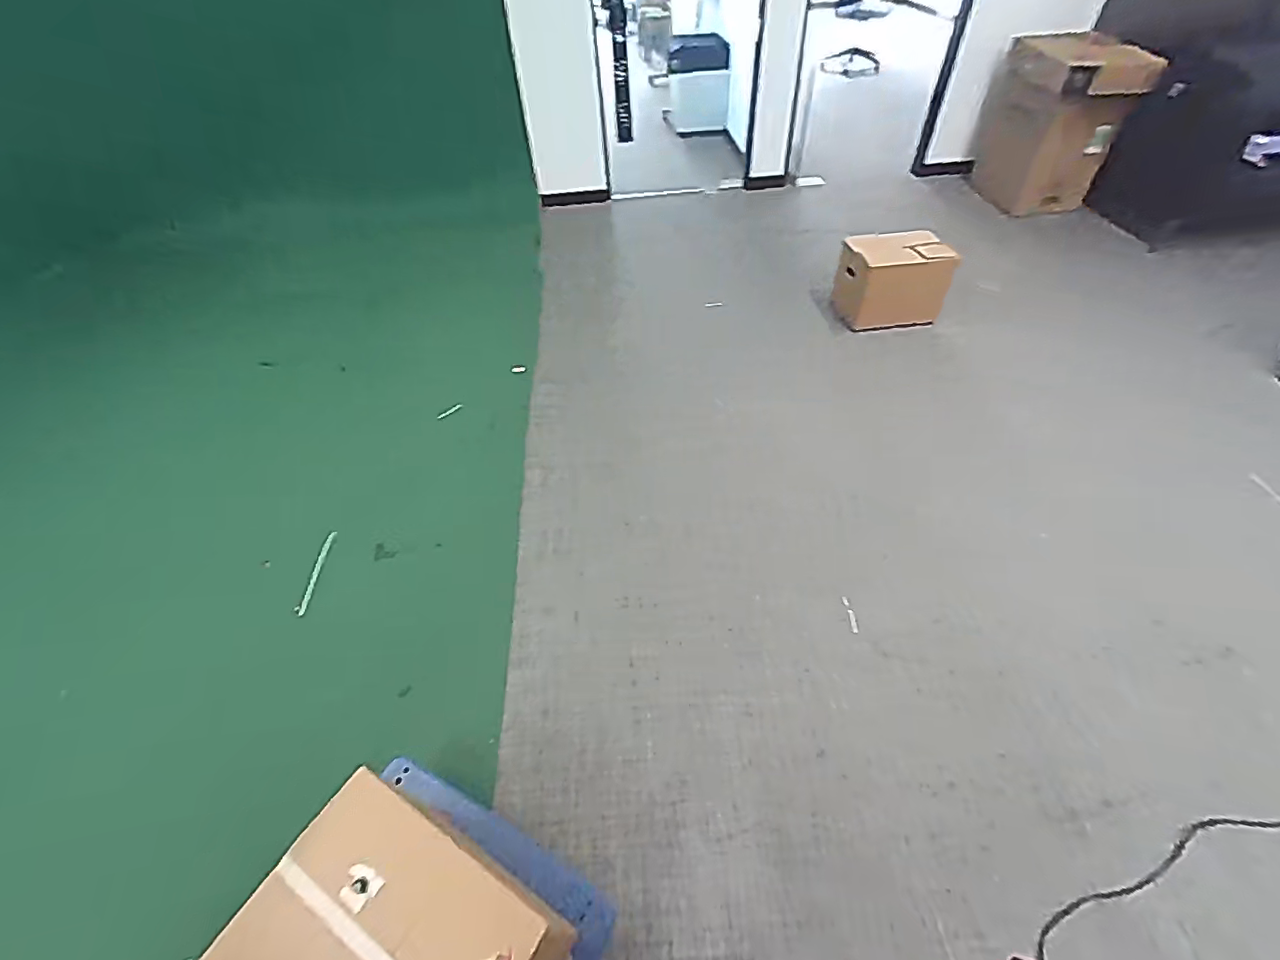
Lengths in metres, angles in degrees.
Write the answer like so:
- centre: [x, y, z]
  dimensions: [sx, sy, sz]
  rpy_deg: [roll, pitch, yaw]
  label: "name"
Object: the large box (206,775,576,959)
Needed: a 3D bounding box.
- centre: [-0.367, 0.758, 0.862]
  dimensions: [0.408, 0.320, 0.320]
  rpy_deg: [23, 54, 23]
  label: "large box"
